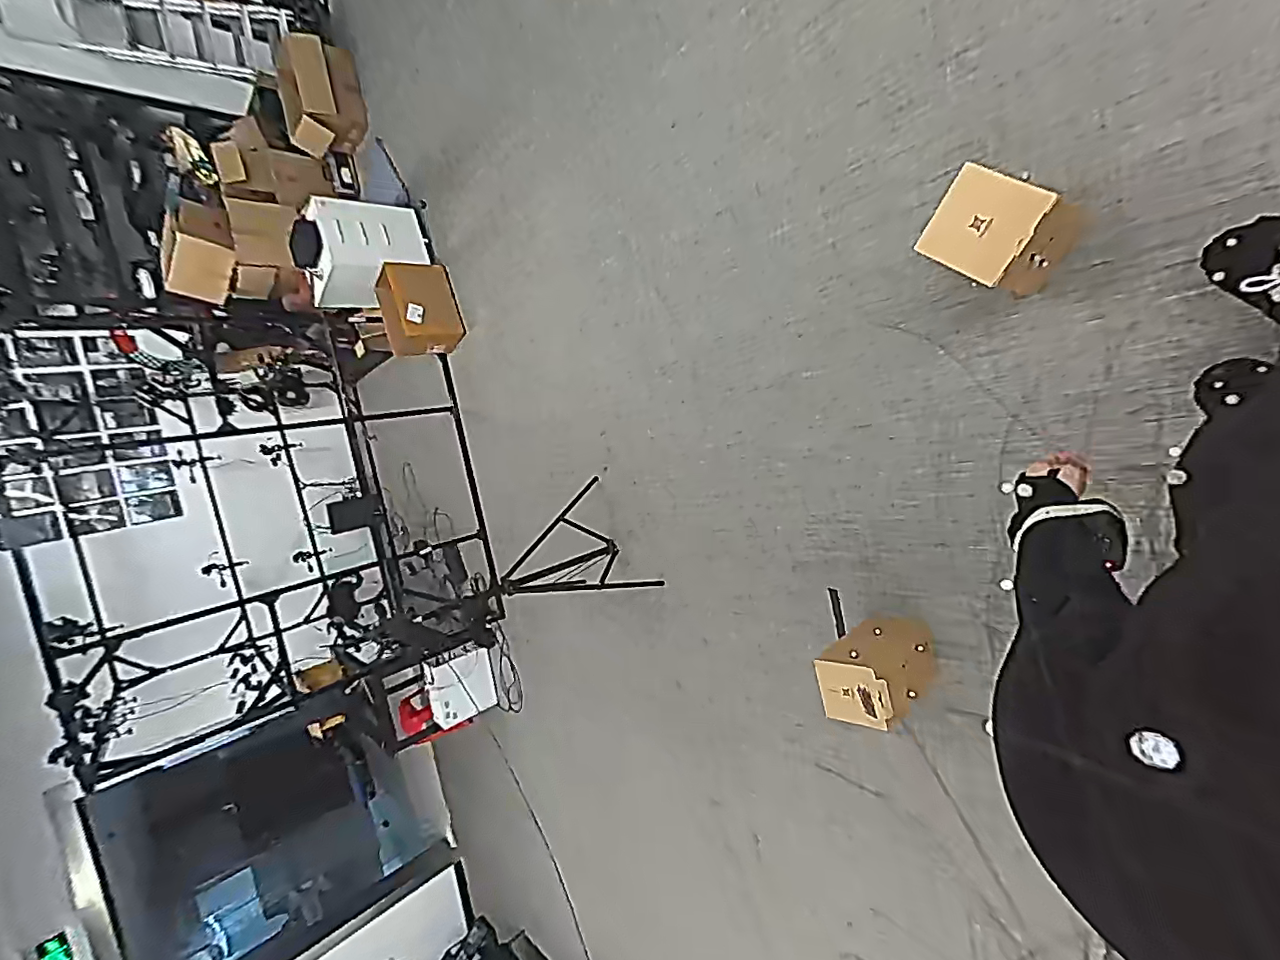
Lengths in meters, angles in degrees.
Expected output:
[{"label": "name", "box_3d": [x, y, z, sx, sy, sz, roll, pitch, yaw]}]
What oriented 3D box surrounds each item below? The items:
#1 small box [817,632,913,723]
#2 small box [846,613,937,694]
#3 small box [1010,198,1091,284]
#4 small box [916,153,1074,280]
[{"label": "small box", "box_3d": [0.609, 0.520, 1.452, 0.179, 0.176, 0.168, -11, 93, 50]}, {"label": "small box", "box_3d": [0.731, 0.491, 1.559, 0.179, 0.176, 0.168, -13, 91, 51]}, {"label": "small box", "box_3d": [0.803, -0.531, 1.151, 0.179, 0.176, 0.168, 46, 131, 29]}, {"label": "small box", "box_3d": [0.684, -0.499, 1.044, 0.179, 0.176, 0.168, 45, 130, 28]}]
